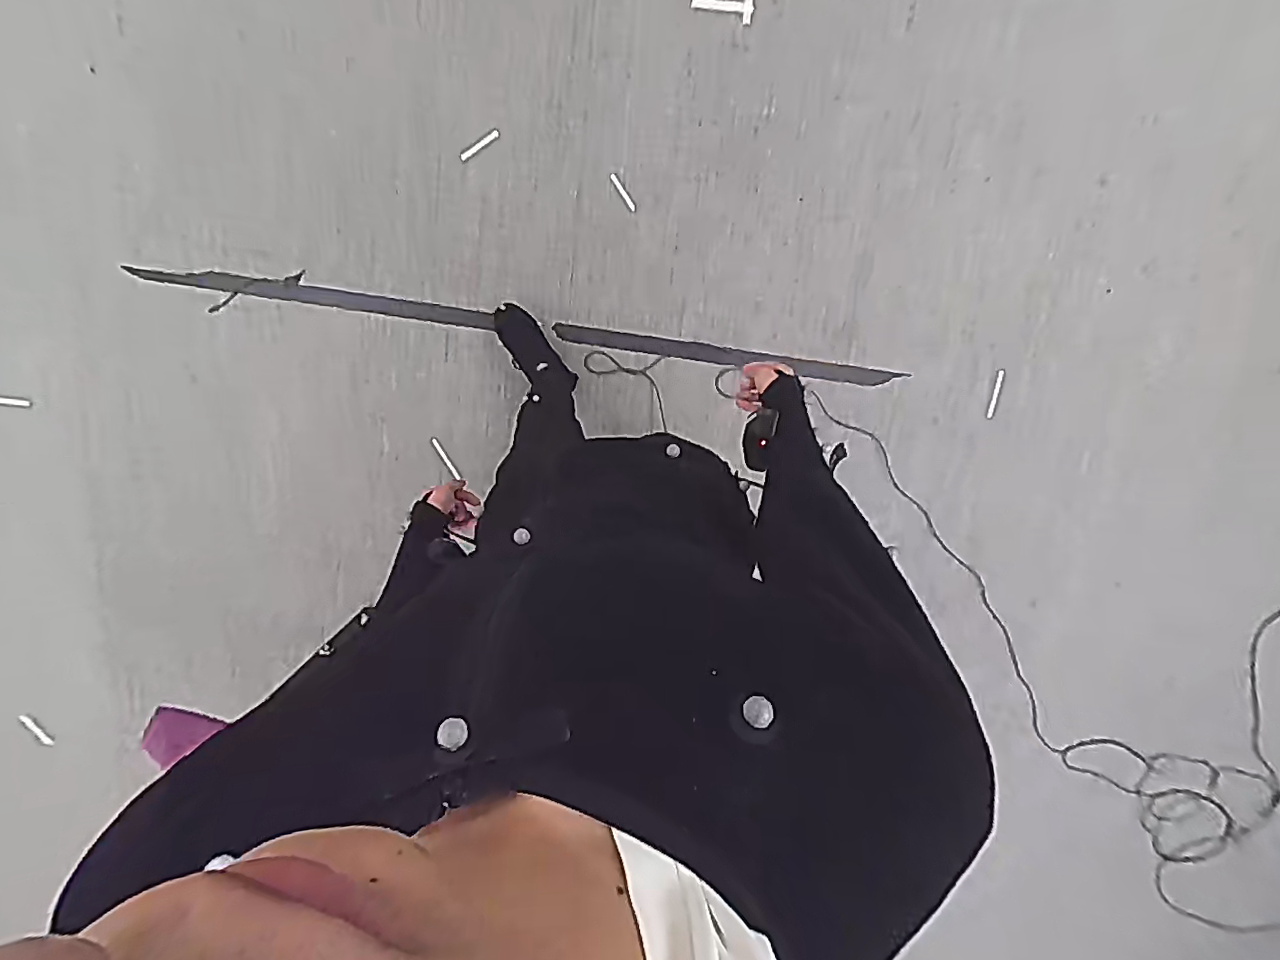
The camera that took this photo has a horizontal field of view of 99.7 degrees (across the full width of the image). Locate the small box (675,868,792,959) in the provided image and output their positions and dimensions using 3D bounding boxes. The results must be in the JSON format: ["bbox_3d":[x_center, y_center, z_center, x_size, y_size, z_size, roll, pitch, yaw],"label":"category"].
[{"bbox_3d":[0.160,0.849,0.980,0.179,0.176,0.168,8,102,0],"label":"small box"}]

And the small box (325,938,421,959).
[{"bbox_3d":[-0.535,1.010,1.012,0.179,0.176,0.168,8,101,-3],"label":"small box"}]
